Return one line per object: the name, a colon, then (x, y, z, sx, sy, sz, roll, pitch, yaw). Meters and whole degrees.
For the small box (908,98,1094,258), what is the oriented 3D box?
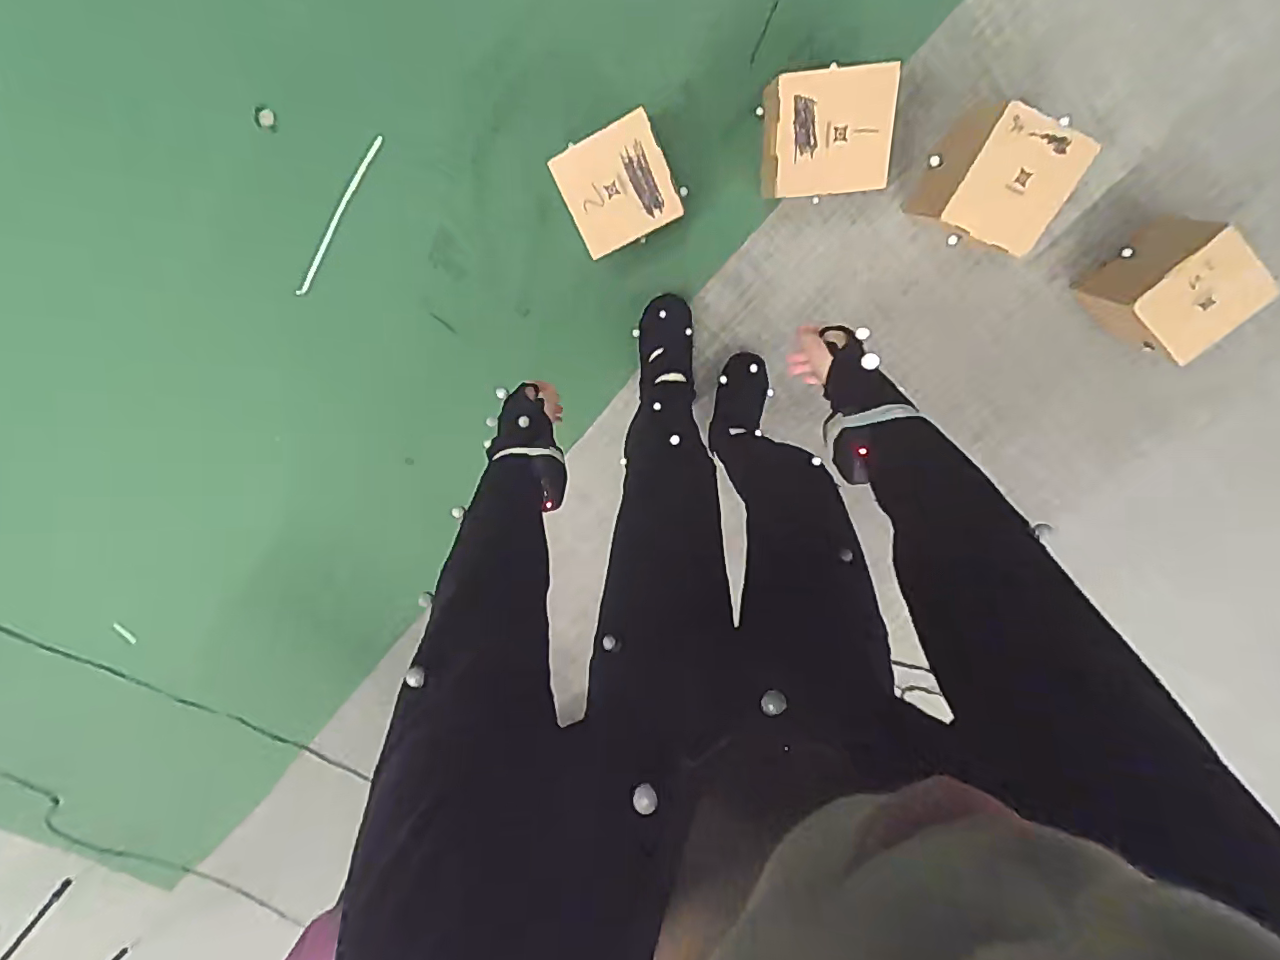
small box: (0.586, -0.504, 0.913, 0.168, 0.176, 0.179, 21, 119, -8)

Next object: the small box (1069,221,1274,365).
small box: (0.946, -0.345, 0.979, 0.179, 0.176, 0.168, 35, 115, -16)

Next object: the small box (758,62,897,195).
small box: (0.294, -0.569, 0.895, 0.179, 0.176, 0.168, -3, 119, 4)
